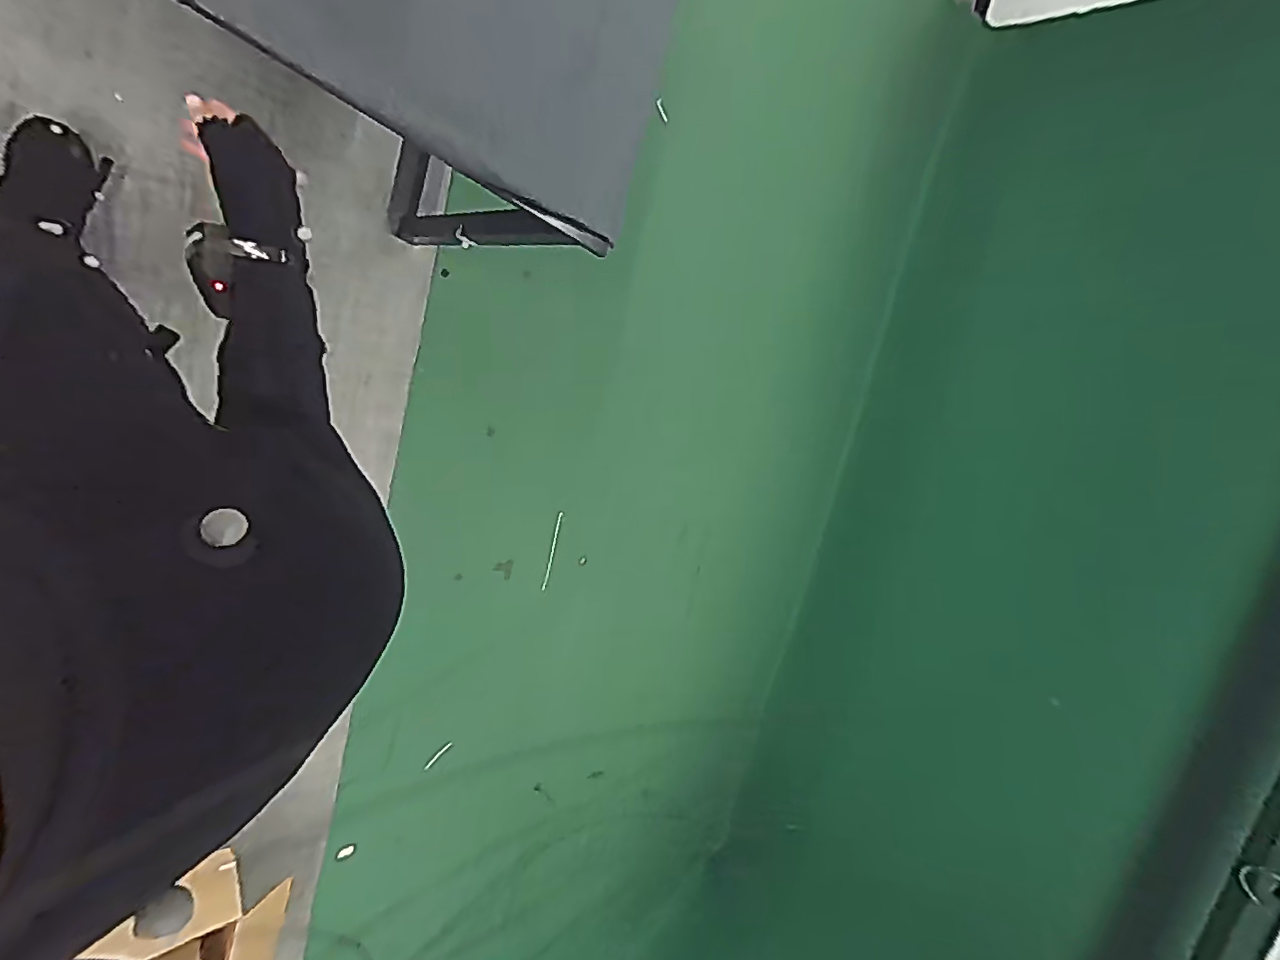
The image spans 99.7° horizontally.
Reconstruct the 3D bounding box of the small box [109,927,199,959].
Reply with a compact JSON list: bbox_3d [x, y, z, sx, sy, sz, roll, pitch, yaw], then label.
[{"bbox_3d":[-1.092,1.153,1.186,0.179,0.176,0.168,7,103,-46],"label":"small box"}]
